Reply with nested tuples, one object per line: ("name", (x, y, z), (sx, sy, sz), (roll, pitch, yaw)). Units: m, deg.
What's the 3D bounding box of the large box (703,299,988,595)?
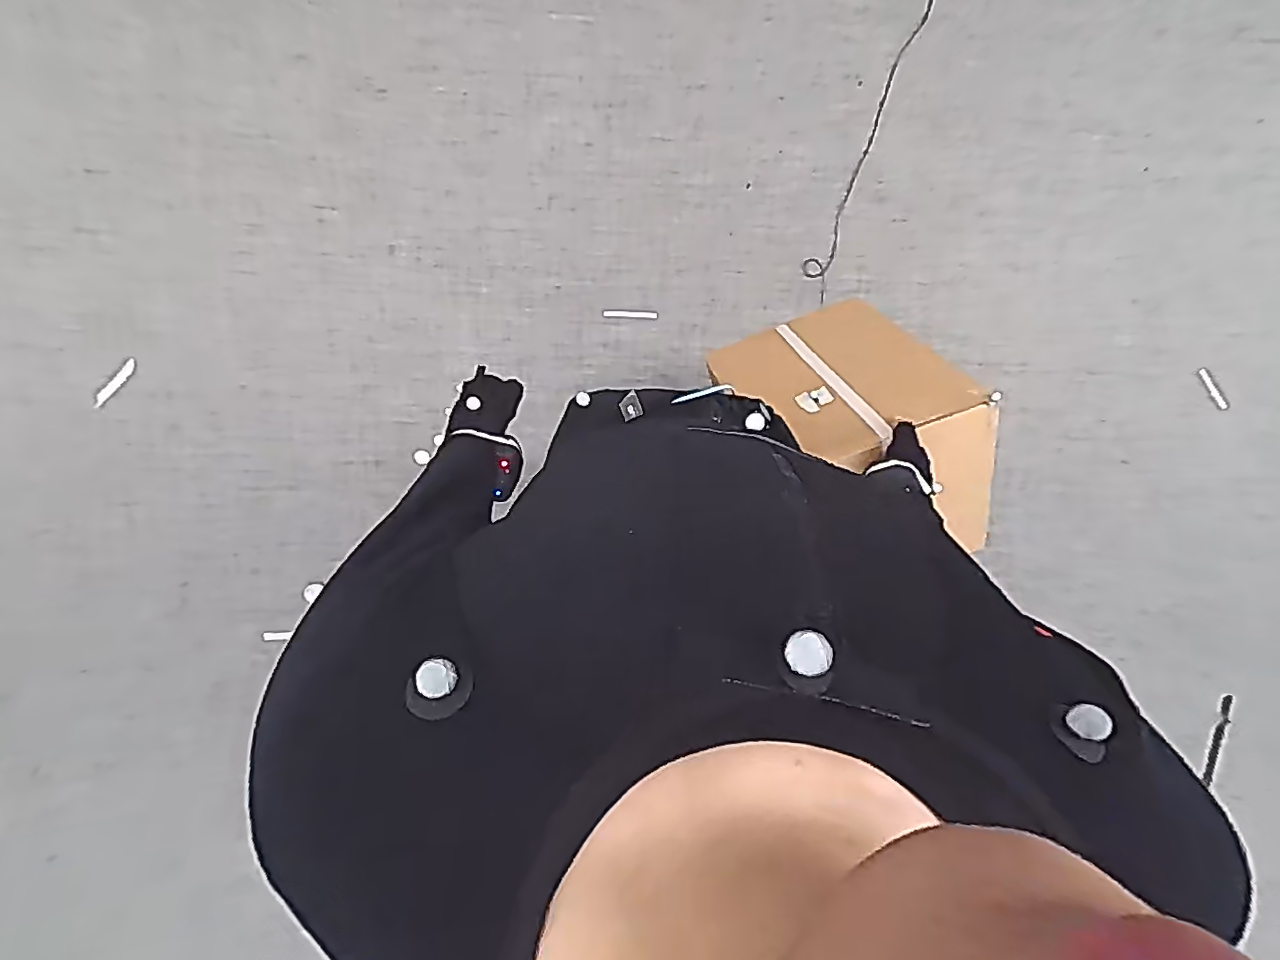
("large box", (0.344, -0.071, 0.994), (0.320, 0.408, 0.320), (-21, 130, 4))
